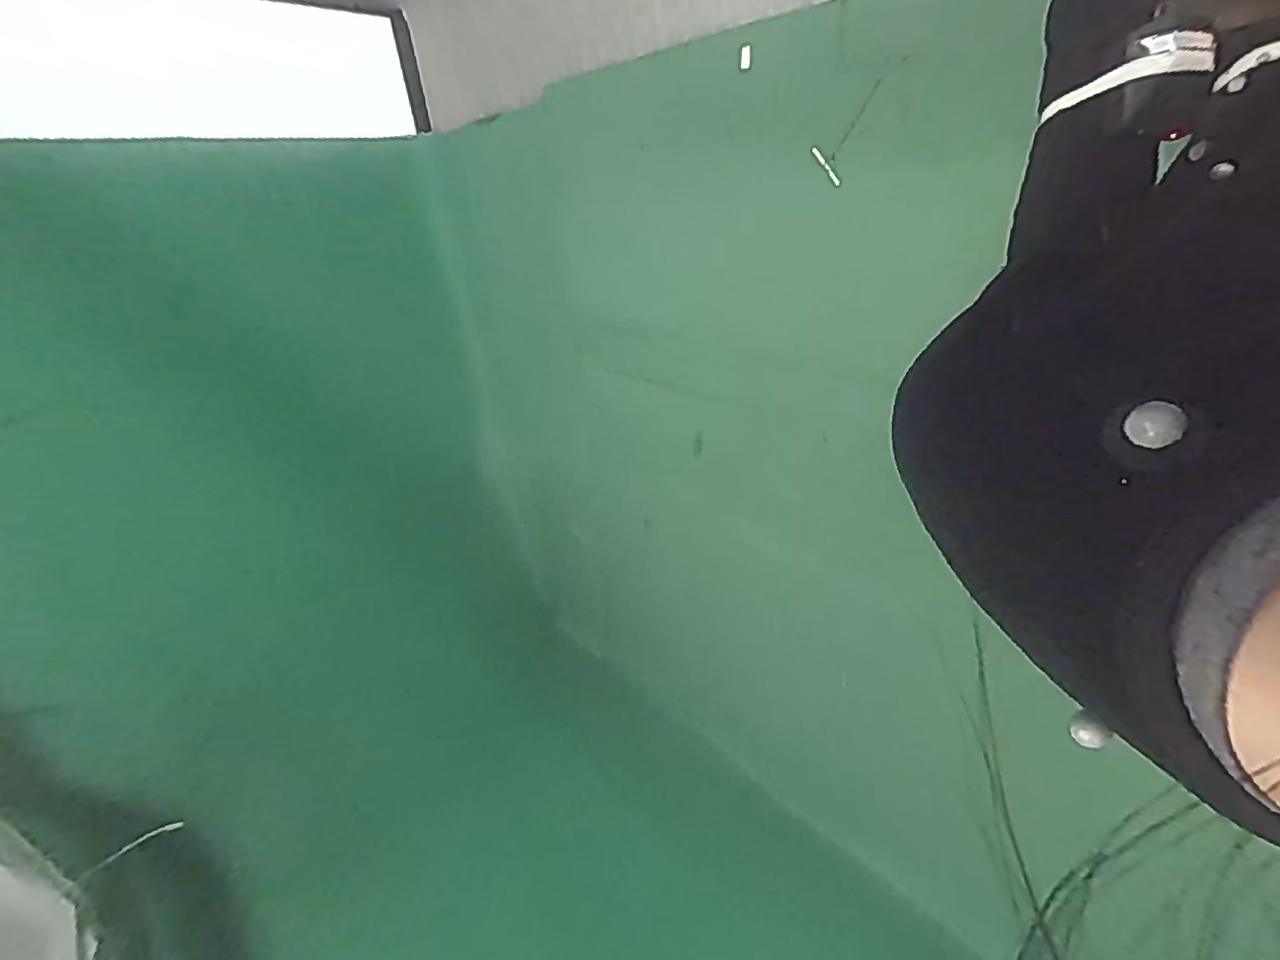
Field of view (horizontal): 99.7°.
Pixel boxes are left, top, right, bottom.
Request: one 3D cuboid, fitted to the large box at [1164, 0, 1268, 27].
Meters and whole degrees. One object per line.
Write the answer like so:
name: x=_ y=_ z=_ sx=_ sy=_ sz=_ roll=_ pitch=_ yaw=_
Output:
large box: x=0.567 y=-0.509 z=0.271 sx=0.408 sy=0.320 sz=0.320 roll=9 pitch=121 yaw=41
